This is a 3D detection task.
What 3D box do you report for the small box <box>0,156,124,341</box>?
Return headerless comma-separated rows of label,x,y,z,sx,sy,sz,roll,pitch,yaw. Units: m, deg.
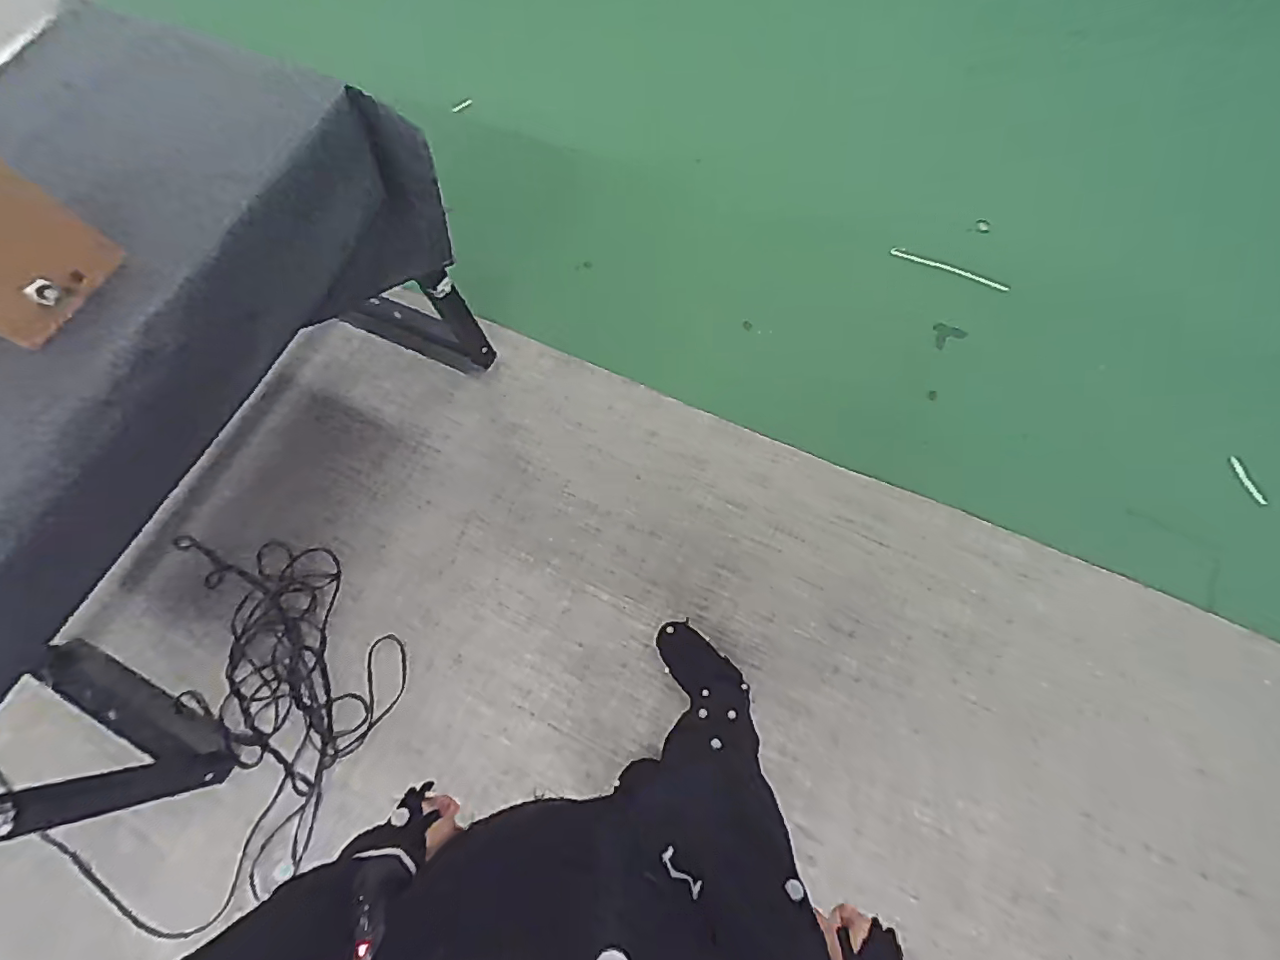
small box,-0.791,-0.293,0.634,0.179,0.176,0.168,25,76,11
